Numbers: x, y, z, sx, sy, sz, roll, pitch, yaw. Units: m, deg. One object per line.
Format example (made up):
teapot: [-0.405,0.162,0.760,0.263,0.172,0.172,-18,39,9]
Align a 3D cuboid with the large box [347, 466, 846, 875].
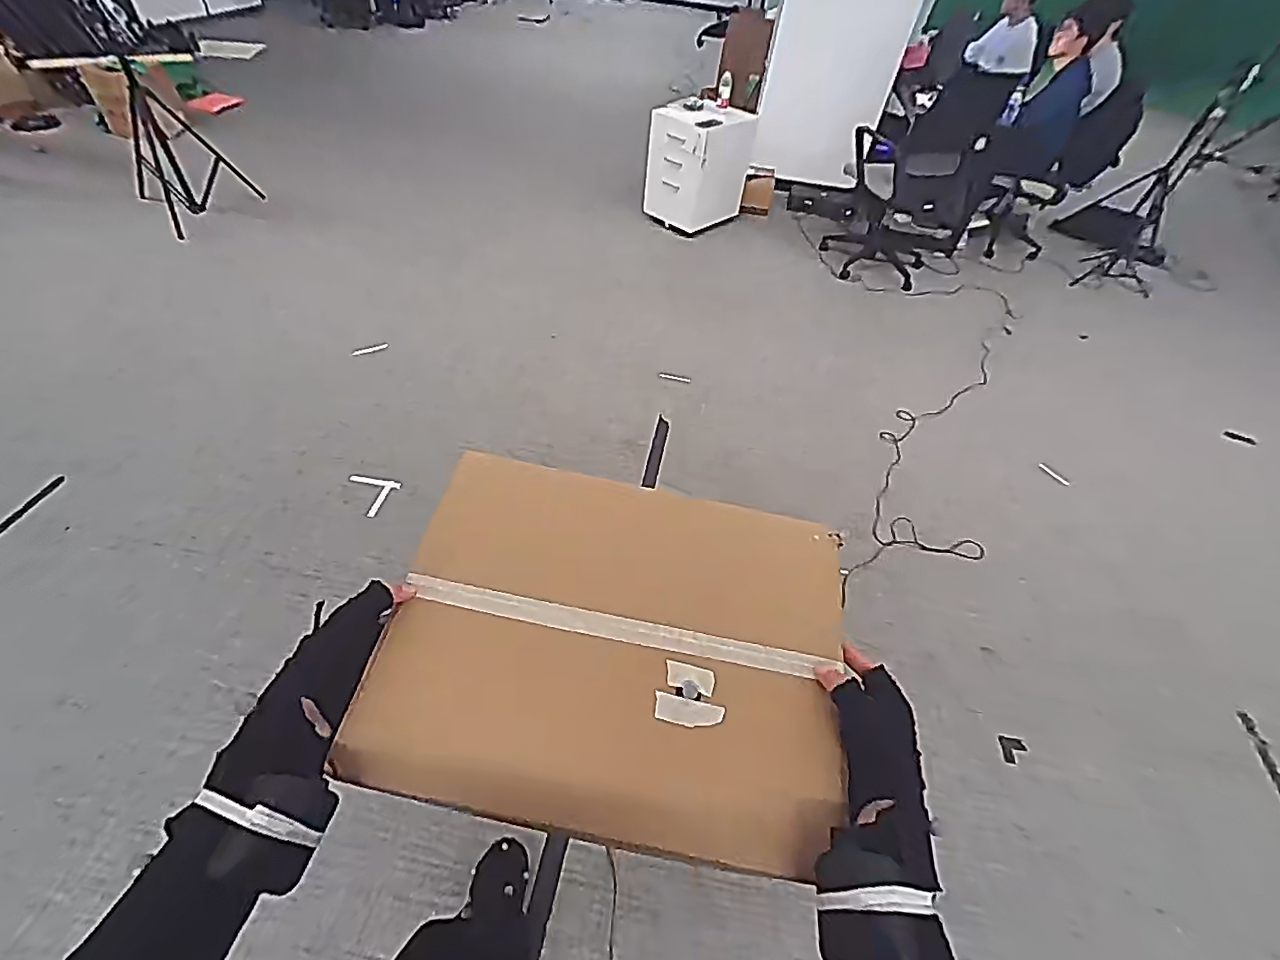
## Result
large box: [-0.029,0.226,0.622,0.408,0.320,0.320,12,56,0]
